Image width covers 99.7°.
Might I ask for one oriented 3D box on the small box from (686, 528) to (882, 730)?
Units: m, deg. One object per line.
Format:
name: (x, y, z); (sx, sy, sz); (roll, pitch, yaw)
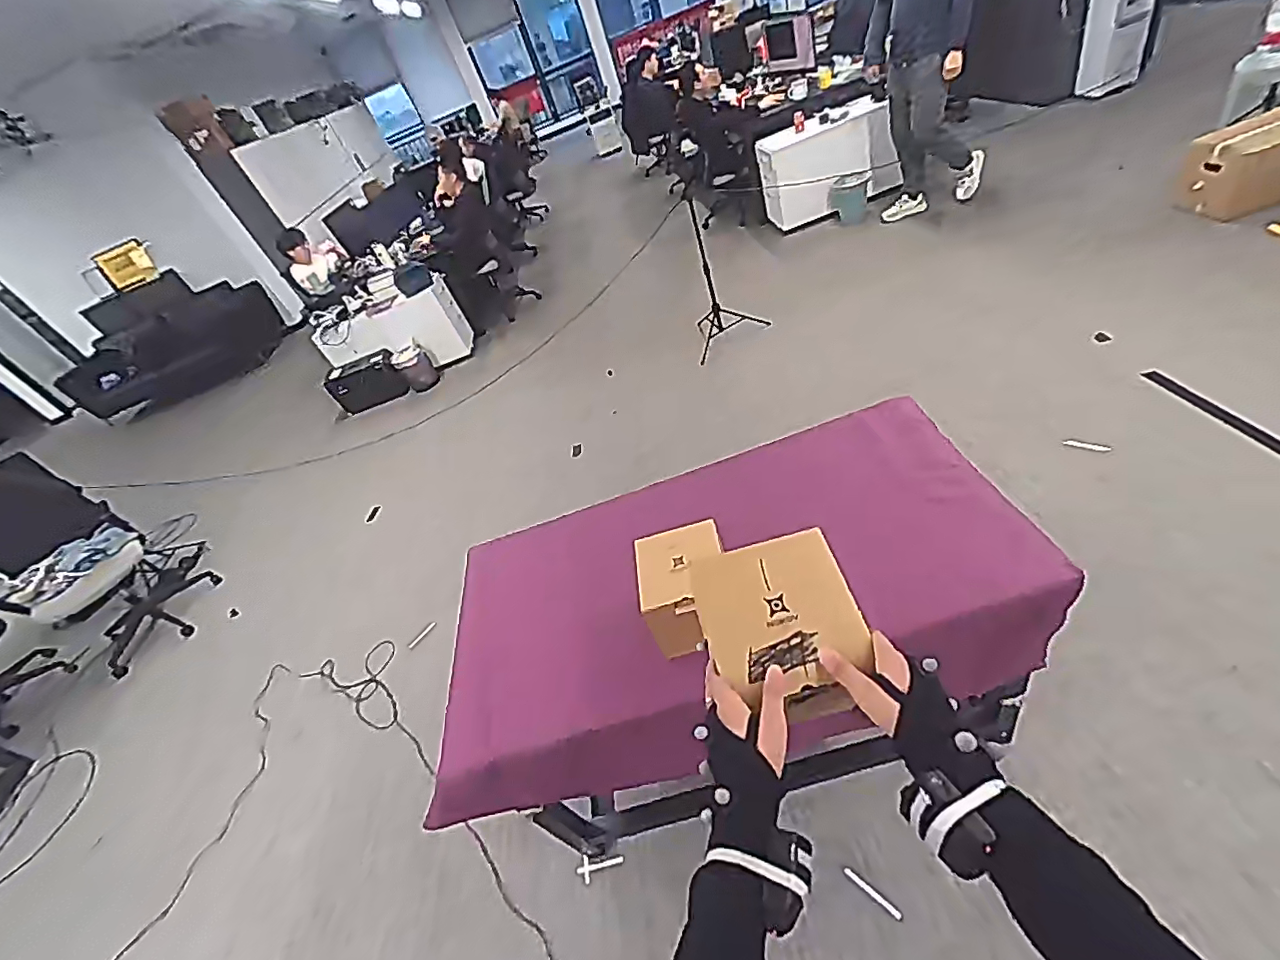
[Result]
small box: (0.164, 0.189, 0.656); (0.168, 0.176, 0.179); (-16, 54, 1)

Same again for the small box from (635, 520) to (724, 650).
small box: (0.098, 0.213, 1.060); (0.168, 0.176, 0.179); (-17, 40, 9)
